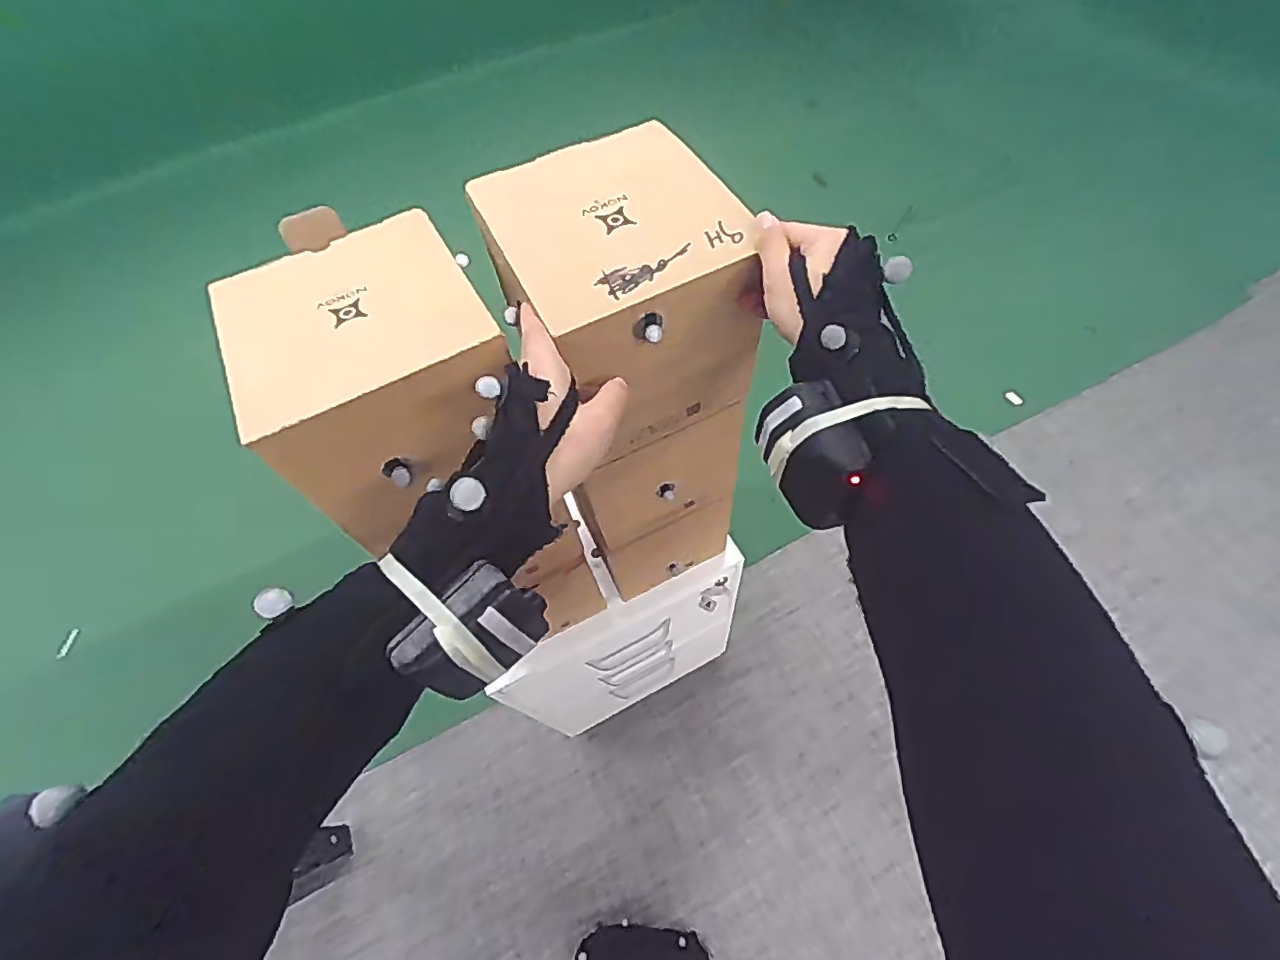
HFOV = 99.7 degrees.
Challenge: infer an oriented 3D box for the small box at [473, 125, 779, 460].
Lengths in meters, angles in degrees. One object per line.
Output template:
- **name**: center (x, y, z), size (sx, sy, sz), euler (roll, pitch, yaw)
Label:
- **small box**: center (-0.014, -0.149, 0.451), size (0.168, 0.176, 0.179), euler (-25, 63, -11)

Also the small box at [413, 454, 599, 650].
- **small box**: center (-0.165, 0.103, 0.707), size (0.168, 0.176, 0.179), euler (-25, 59, -11)
